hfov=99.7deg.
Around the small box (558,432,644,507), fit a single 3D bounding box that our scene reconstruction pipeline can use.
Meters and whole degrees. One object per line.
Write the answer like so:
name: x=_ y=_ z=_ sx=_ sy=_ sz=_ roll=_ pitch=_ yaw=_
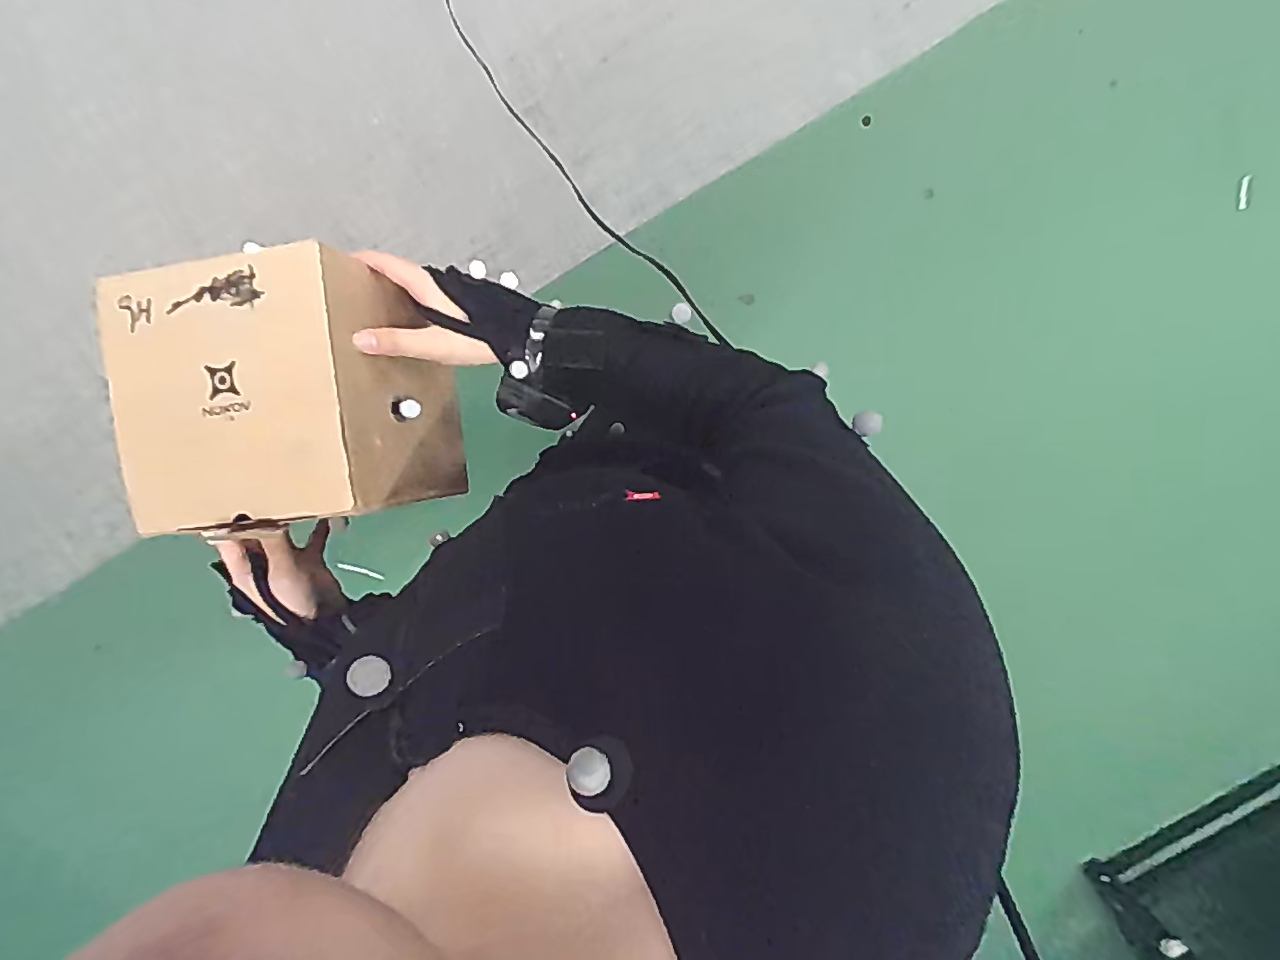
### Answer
small box: x=-0.093 y=-0.028 z=1.320 sx=0.179 sy=0.176 sz=0.168 roll=-3 pitch=94 yaw=9
